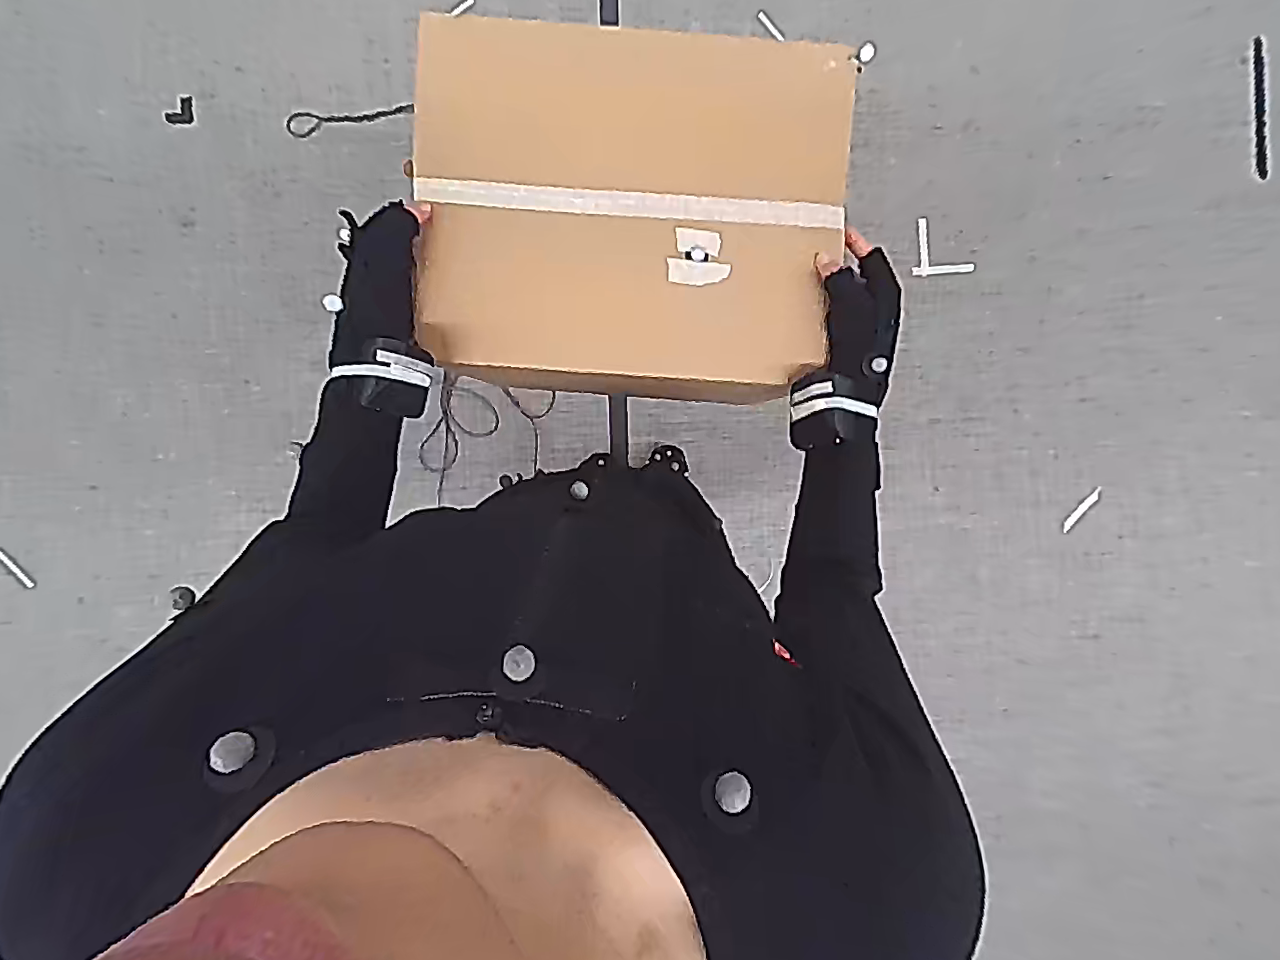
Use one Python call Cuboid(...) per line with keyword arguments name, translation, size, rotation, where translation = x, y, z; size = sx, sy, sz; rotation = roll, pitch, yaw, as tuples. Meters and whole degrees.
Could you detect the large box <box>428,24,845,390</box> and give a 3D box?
Cuboid(name="large box", translation=(-0.011, -0.285, 0.675), size=(0.408, 0.320, 0.320), rotation=(3, 96, -1))
